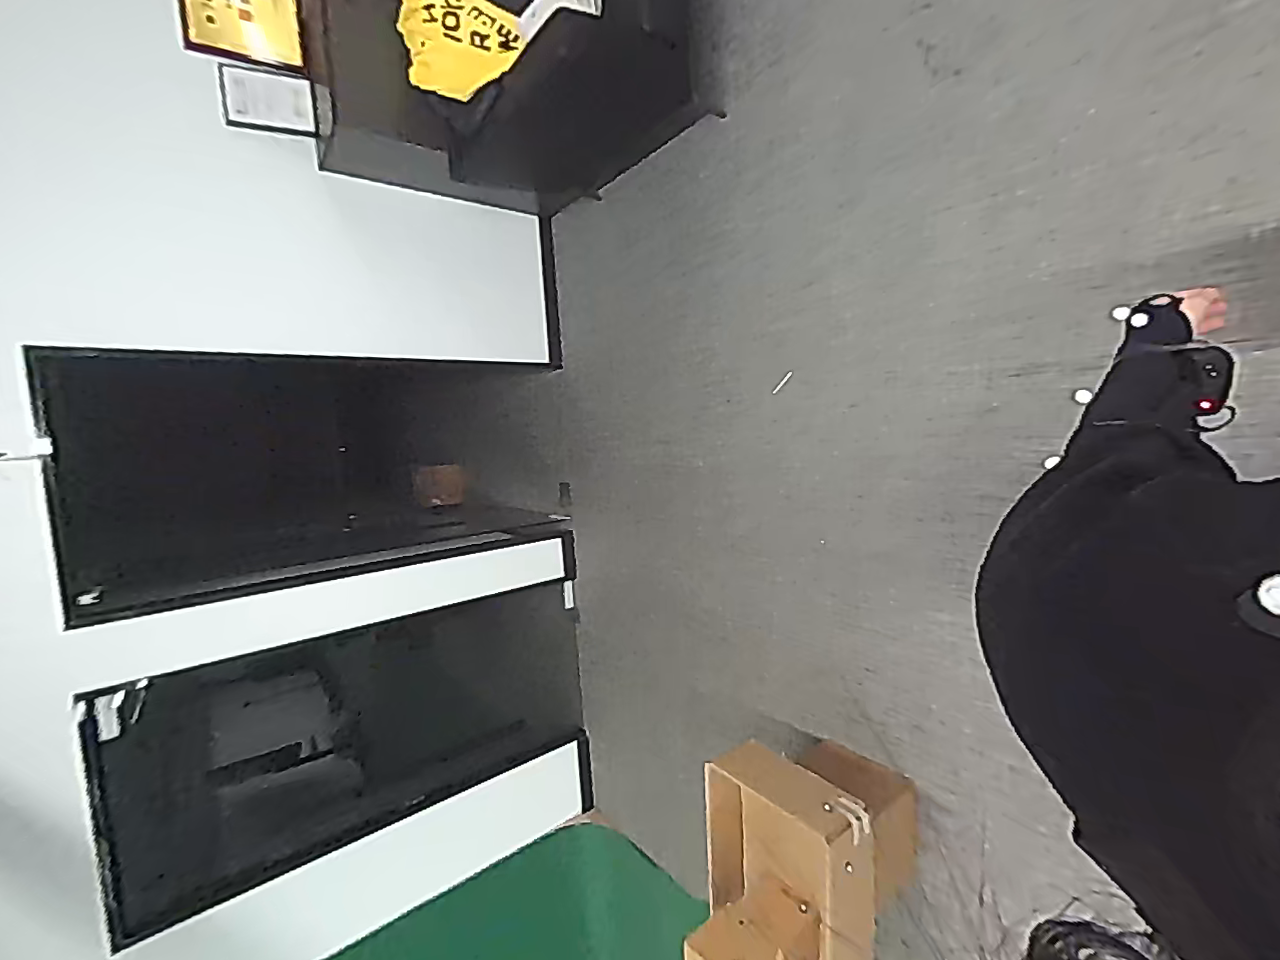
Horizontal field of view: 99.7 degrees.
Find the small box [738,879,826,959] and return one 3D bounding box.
[{"bbox_3d":[0.379,1.225,1.439,0.168,0.176,0.179,7,101,53],"label":"small box"}]
